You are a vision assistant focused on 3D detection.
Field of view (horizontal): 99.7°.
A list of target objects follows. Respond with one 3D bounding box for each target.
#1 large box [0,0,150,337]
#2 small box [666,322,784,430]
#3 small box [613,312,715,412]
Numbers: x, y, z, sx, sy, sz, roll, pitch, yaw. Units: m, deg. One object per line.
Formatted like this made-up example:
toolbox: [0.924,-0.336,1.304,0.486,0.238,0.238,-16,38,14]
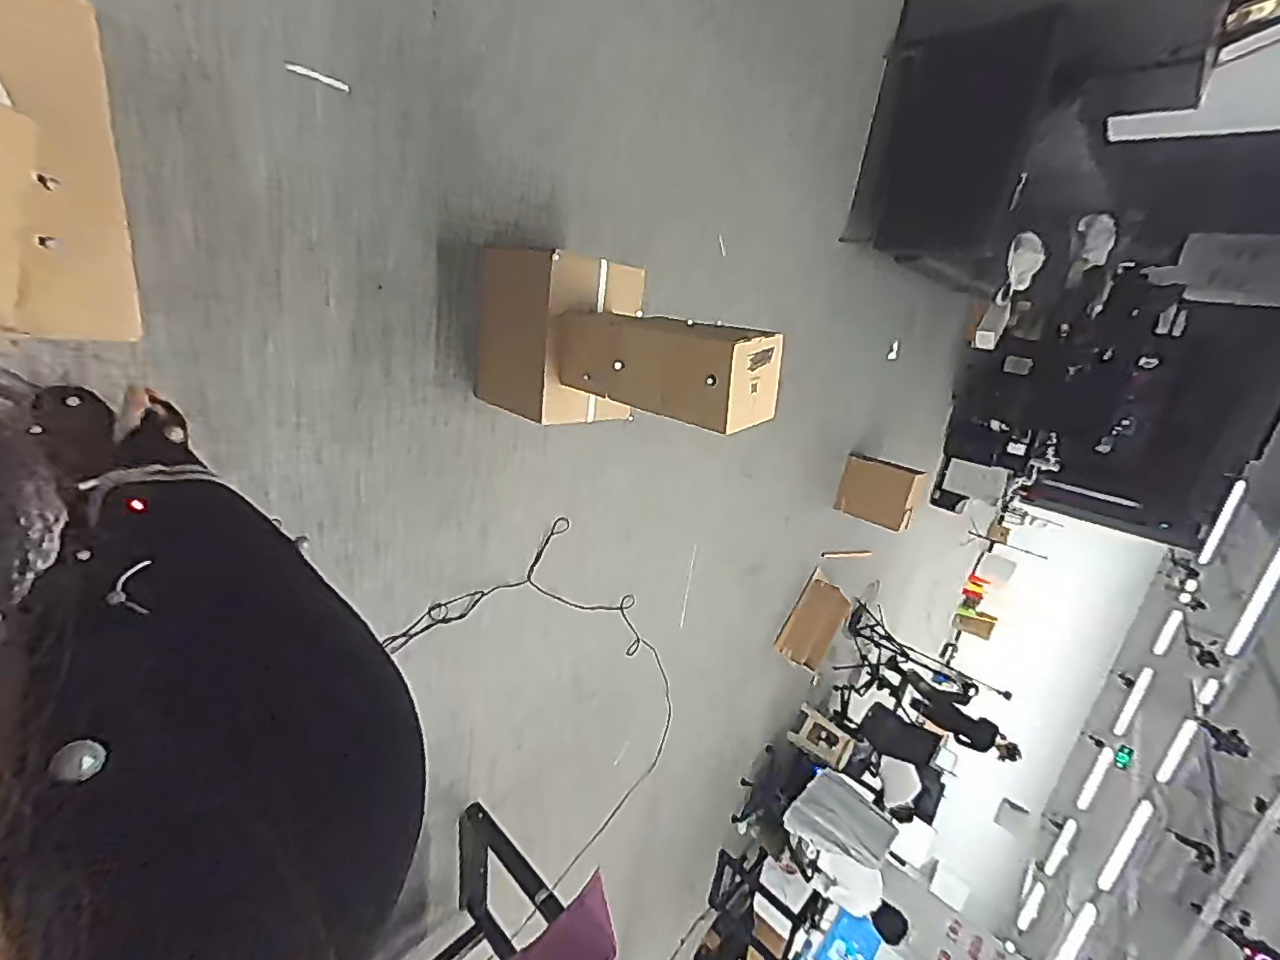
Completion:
large box: [-0.893,-0.410,0.704,0.320,0.320,0.408,-12,115,-45]
small box: [0.168,-0.219,1.093,0.168,0.176,0.179,-22,124,-39]
small box: [0.052,-0.269,1.200,0.168,0.176,0.179,-21,124,-40]
